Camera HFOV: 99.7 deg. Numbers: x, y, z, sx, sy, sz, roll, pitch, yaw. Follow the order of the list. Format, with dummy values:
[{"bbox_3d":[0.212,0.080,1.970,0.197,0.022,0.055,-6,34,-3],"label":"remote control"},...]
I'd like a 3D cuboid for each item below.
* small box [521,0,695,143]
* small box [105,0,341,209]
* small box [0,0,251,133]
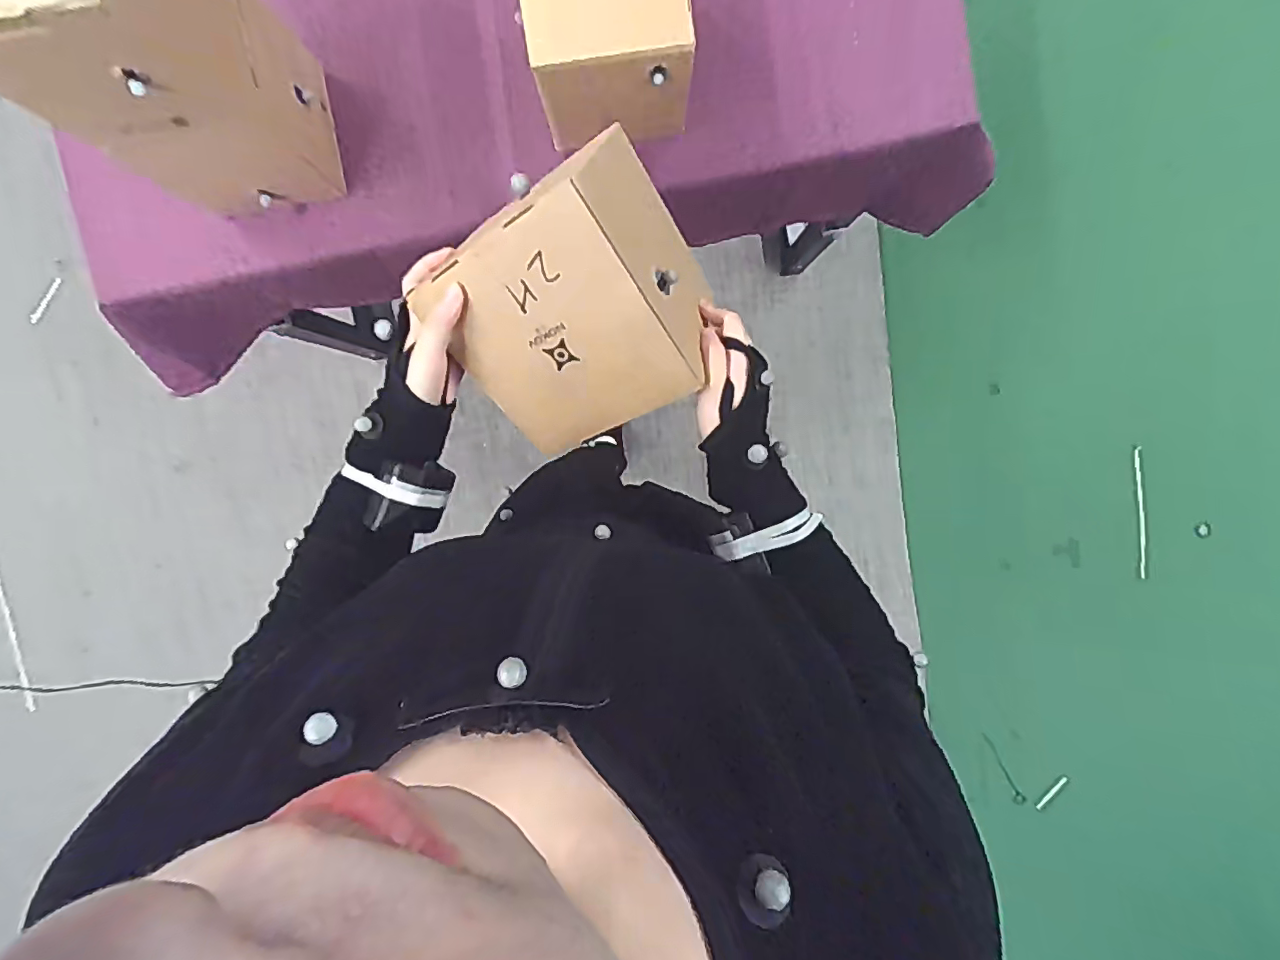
[{"bbox_3d":[-0.038,-0.524,0.629,0.179,0.176,0.168,-8,95,0],"label":"small box"},{"bbox_3d":[-0.482,-0.444,0.635,0.179,0.176,0.168,-9,96,1],"label":"small box"},{"bbox_3d":[-0.482,-0.434,0.471,0.168,0.176,0.179,-7,94,0],"label":"small box"}]
